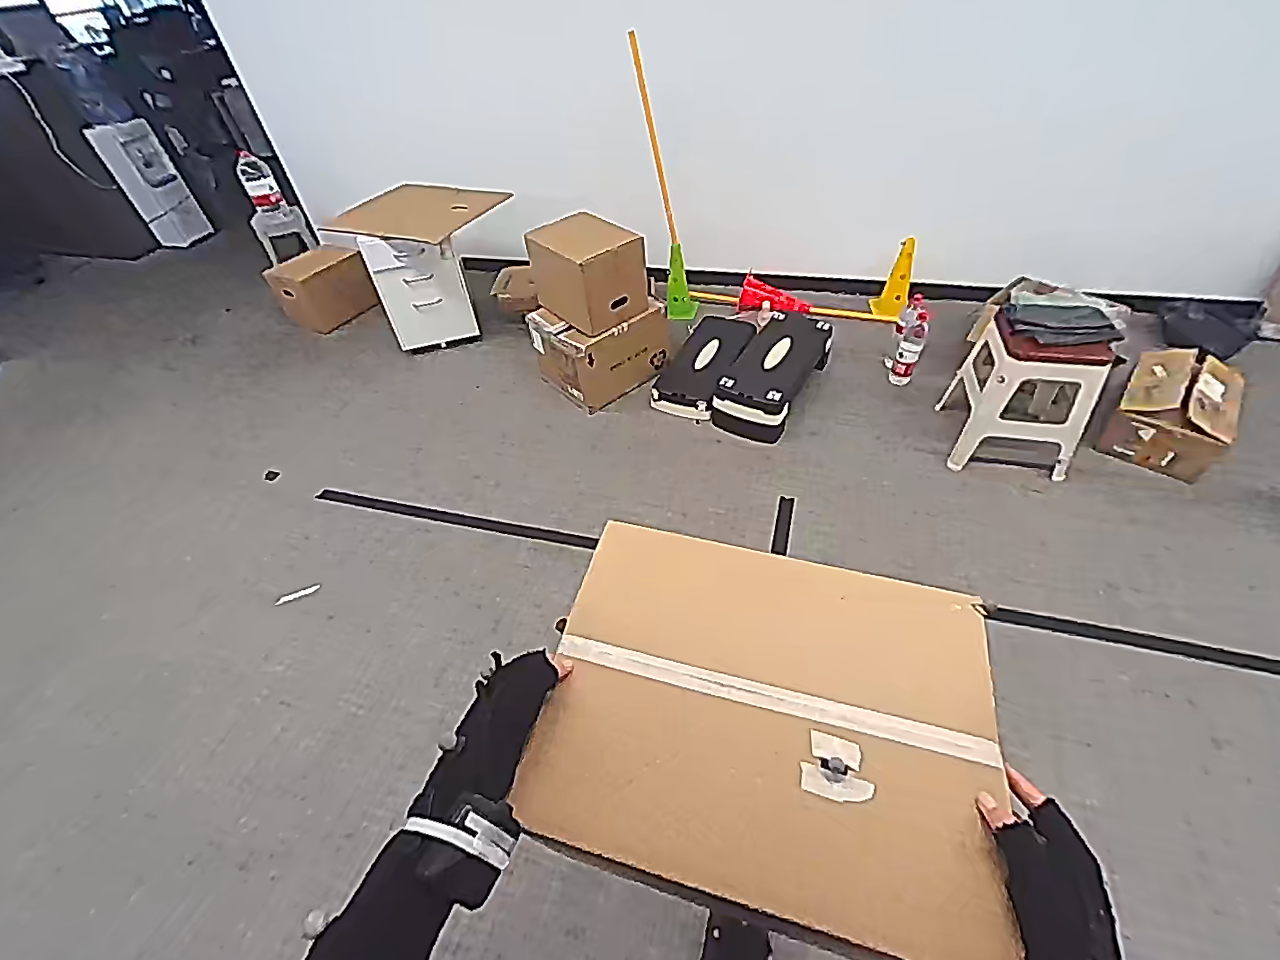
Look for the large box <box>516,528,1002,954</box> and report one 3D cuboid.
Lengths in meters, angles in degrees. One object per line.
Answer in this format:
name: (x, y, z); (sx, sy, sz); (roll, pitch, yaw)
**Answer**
large box: (0.121, 0.298, 0.643); (0.408, 0.320, 0.320); (11, 53, 11)
